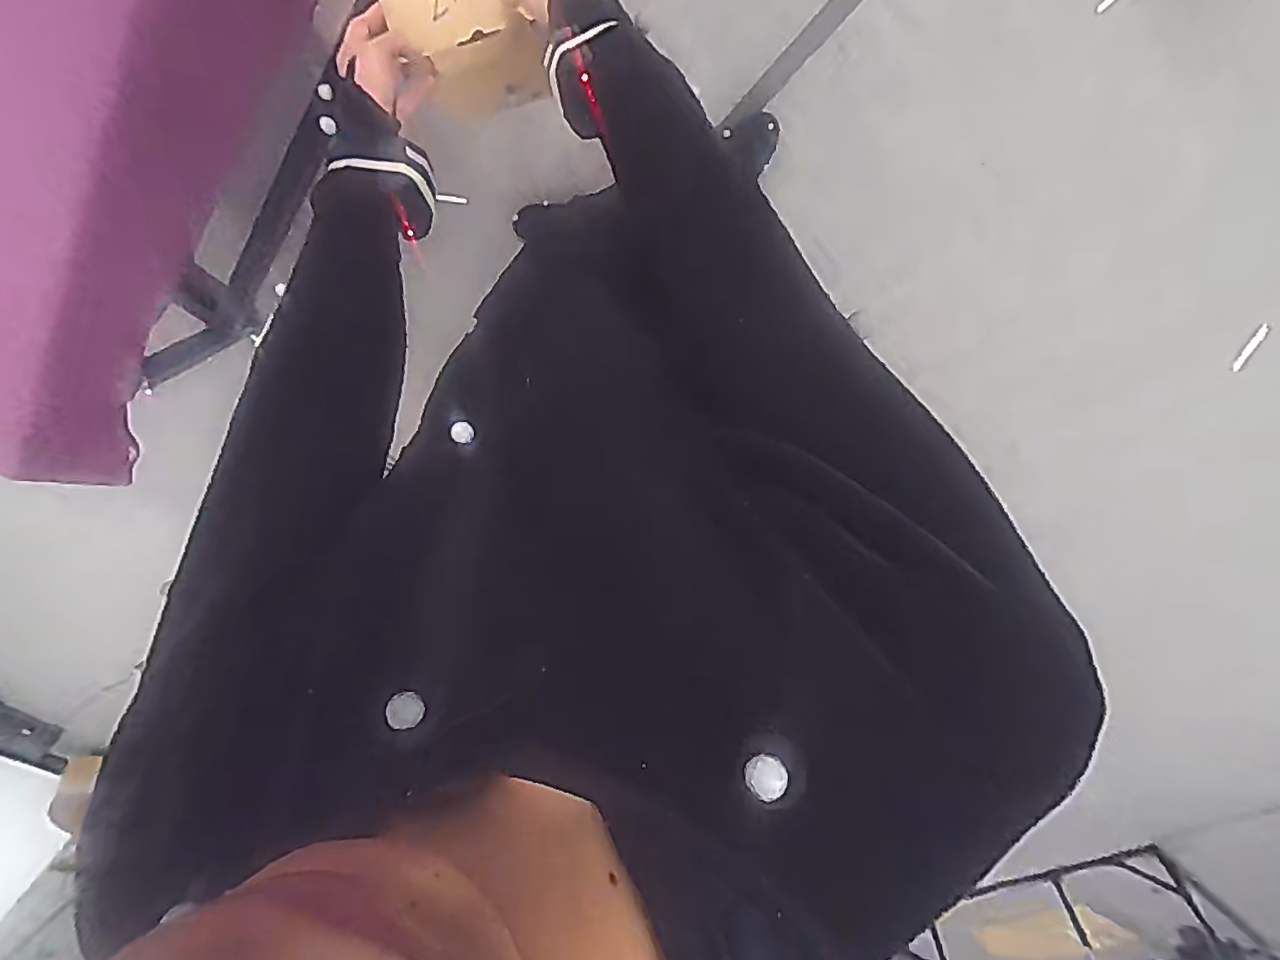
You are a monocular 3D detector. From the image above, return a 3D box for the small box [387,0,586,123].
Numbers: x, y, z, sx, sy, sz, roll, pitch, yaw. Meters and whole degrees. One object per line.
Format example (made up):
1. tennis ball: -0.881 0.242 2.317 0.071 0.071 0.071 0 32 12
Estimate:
1. small box: -0.165 -0.523 0.577 0.168 0.176 0.179 -12 106 7
